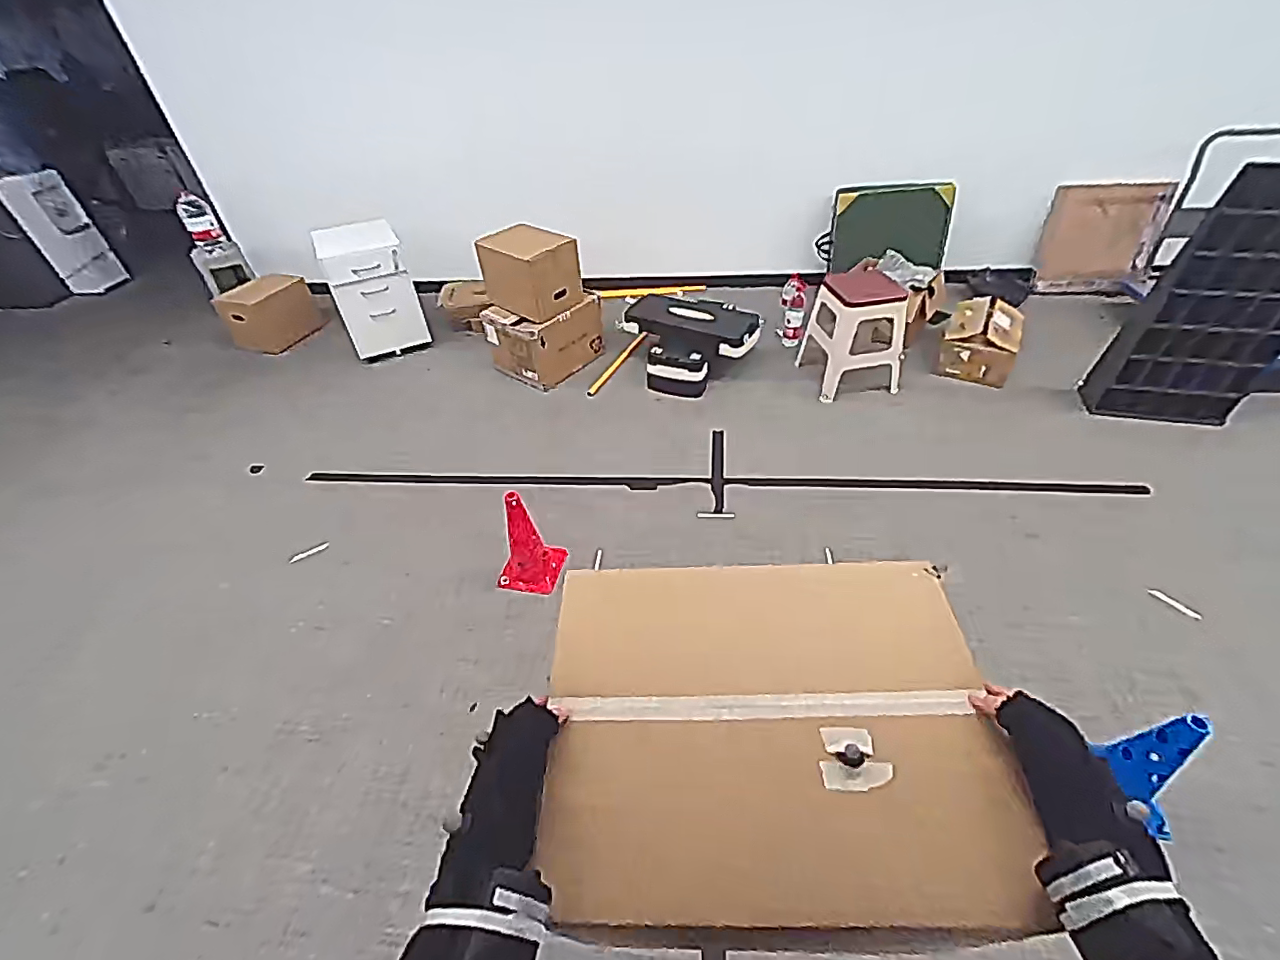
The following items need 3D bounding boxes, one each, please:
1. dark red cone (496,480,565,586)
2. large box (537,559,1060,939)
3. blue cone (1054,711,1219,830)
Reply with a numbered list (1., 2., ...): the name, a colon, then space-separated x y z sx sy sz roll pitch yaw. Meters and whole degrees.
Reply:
1. dark red cone: -0.383 0.157 1.764 0.201 0.394 0.202 6 43 10
2. large box: 0.124 0.309 0.616 0.408 0.320 0.320 -2 47 3
3. blue cone: 1.121 0.610 1.196 0.192 0.380 0.193 4 43 8
